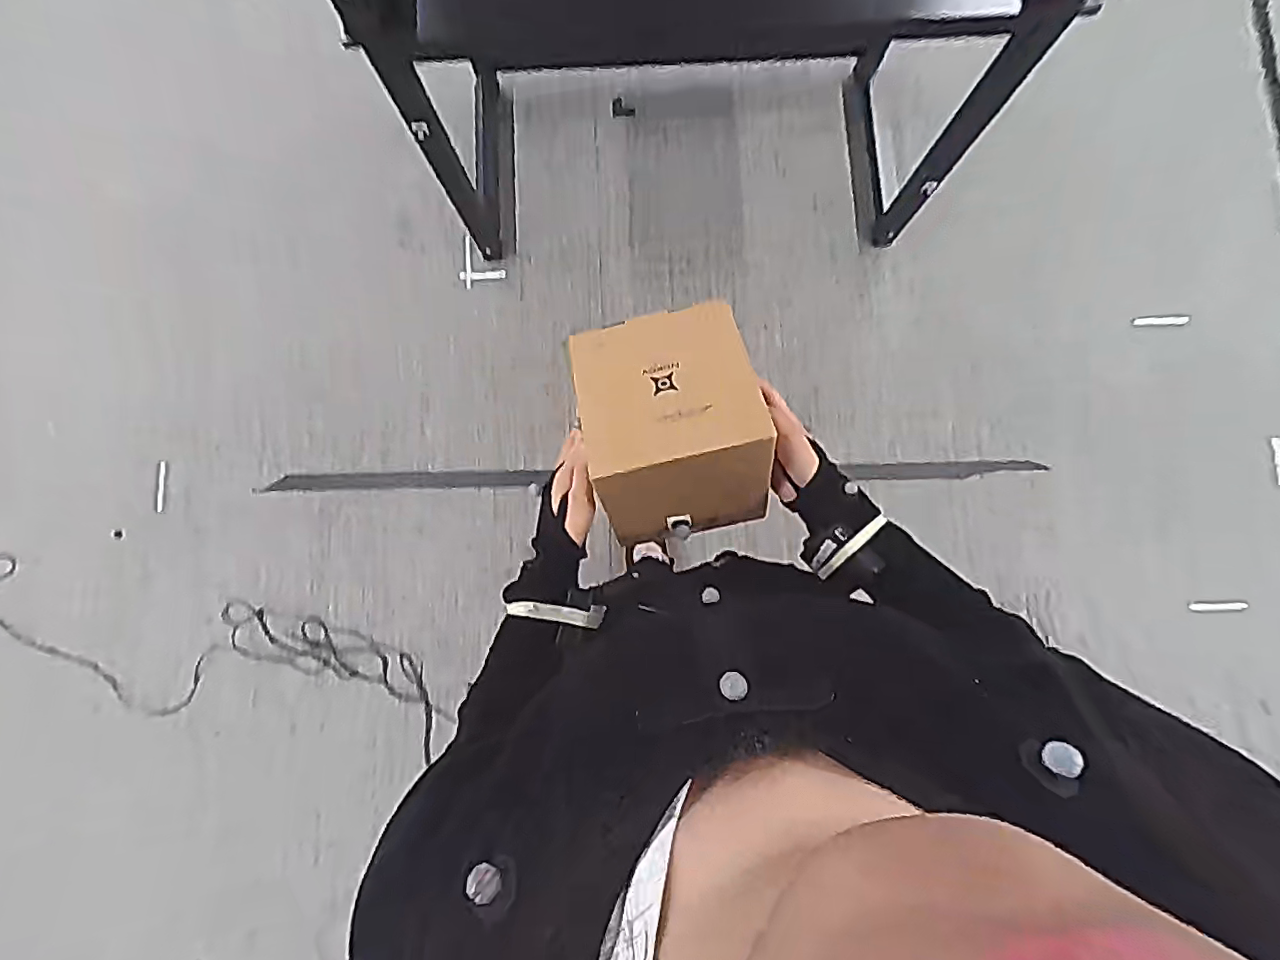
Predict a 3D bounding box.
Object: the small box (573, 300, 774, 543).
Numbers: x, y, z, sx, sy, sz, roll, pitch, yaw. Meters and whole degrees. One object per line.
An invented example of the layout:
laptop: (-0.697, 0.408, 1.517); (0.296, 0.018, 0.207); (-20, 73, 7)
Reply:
small box: (0.034, -0.055, 0.577); (0.168, 0.176, 0.179); (-13, 60, 2)
